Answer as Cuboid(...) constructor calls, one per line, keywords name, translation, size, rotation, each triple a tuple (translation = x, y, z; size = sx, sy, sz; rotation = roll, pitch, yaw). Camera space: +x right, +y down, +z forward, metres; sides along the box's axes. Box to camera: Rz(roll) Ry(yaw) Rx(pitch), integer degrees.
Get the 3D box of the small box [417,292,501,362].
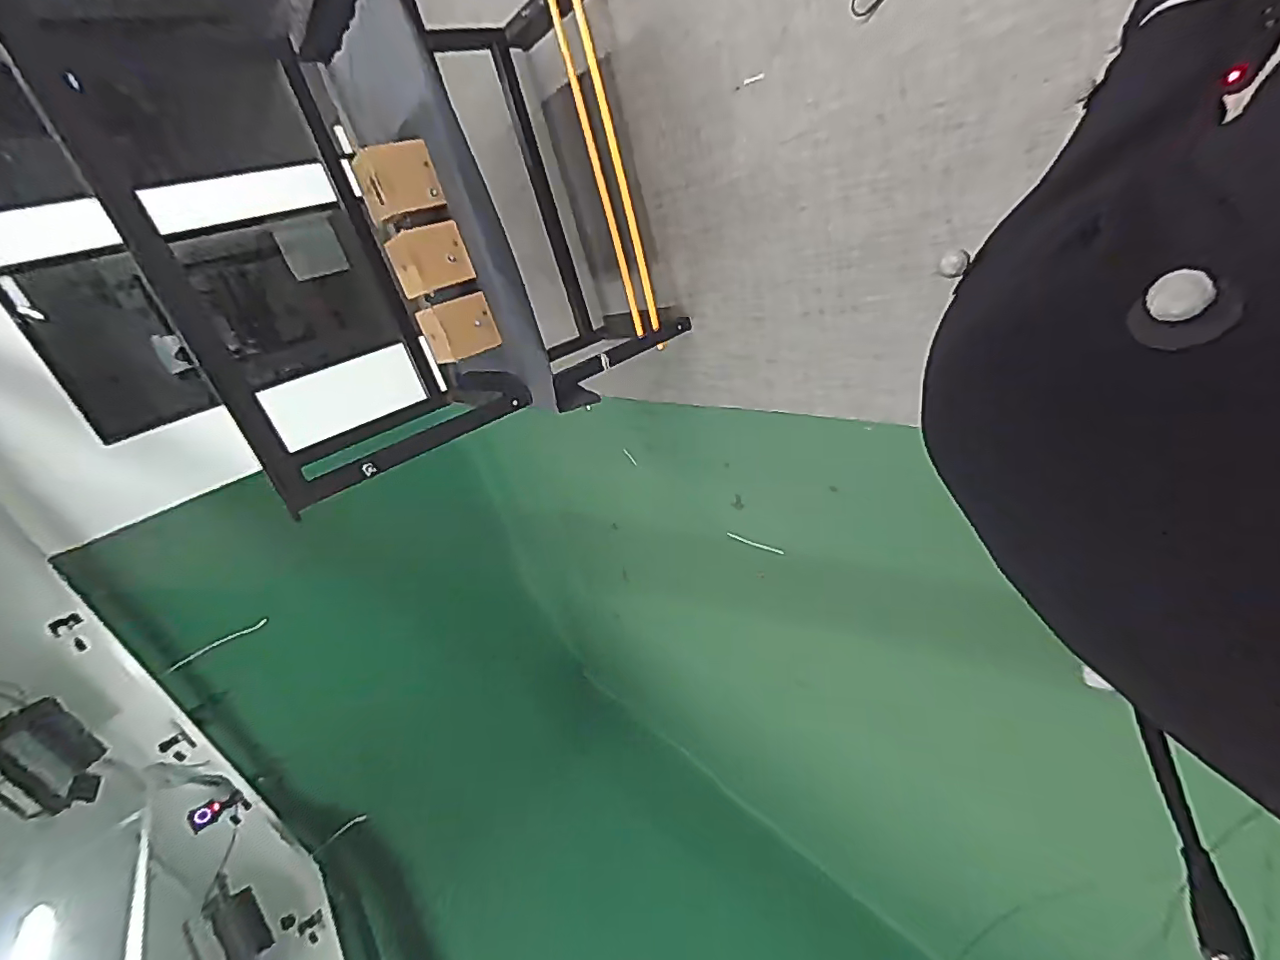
Cuboid(name="small box", translation=(-0.563, -0.476, 1.688), size=(0.179, 0.176, 0.168), rotation=(11, 126, 51))
